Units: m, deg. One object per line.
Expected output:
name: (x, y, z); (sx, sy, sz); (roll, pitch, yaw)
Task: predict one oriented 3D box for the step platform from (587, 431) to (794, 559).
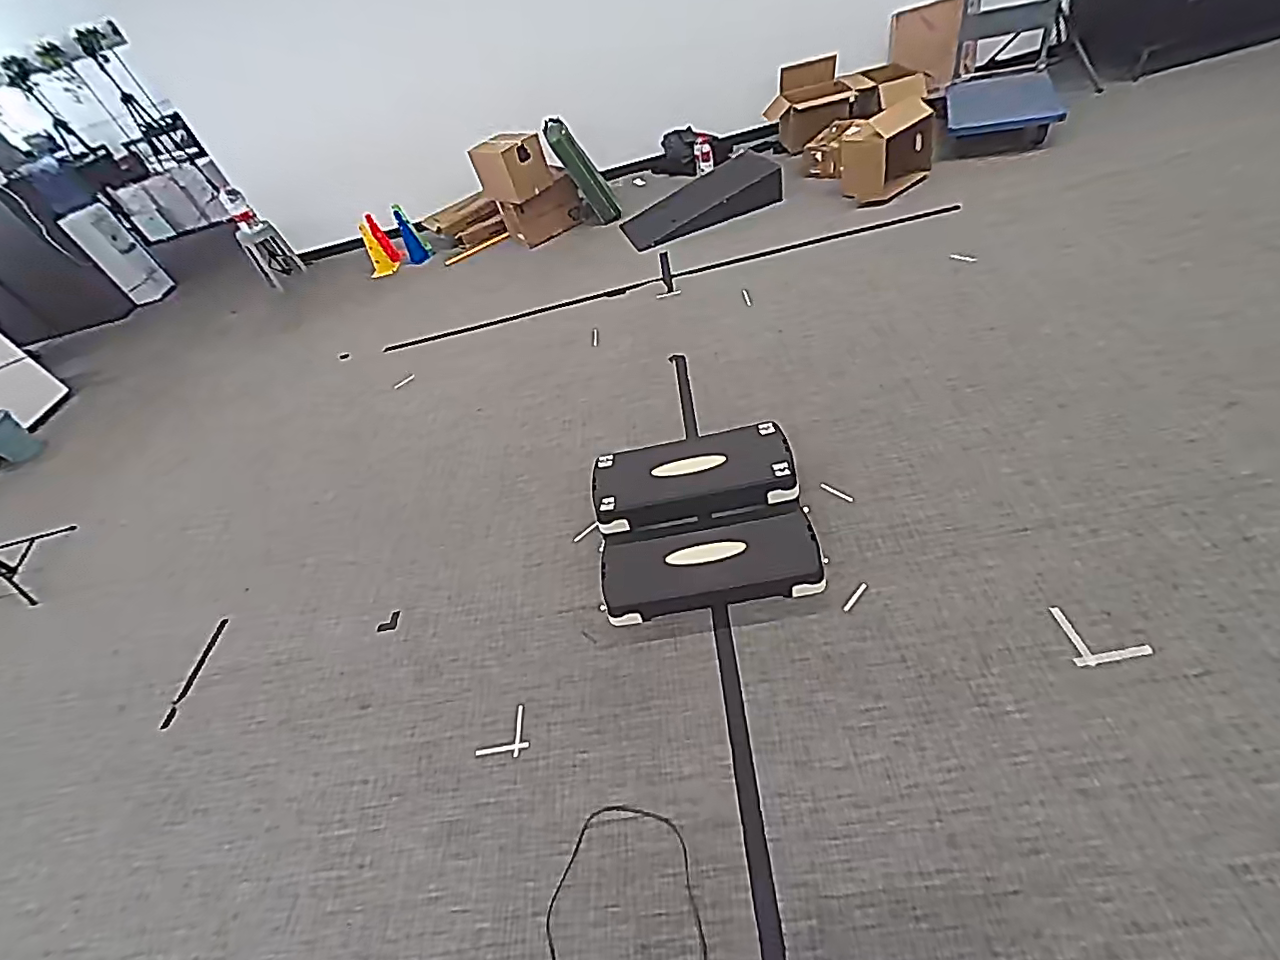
step platform: (0.163, 0.046, 1.831); (0.684, 0.204, 0.286); (-12, 46, 6)
